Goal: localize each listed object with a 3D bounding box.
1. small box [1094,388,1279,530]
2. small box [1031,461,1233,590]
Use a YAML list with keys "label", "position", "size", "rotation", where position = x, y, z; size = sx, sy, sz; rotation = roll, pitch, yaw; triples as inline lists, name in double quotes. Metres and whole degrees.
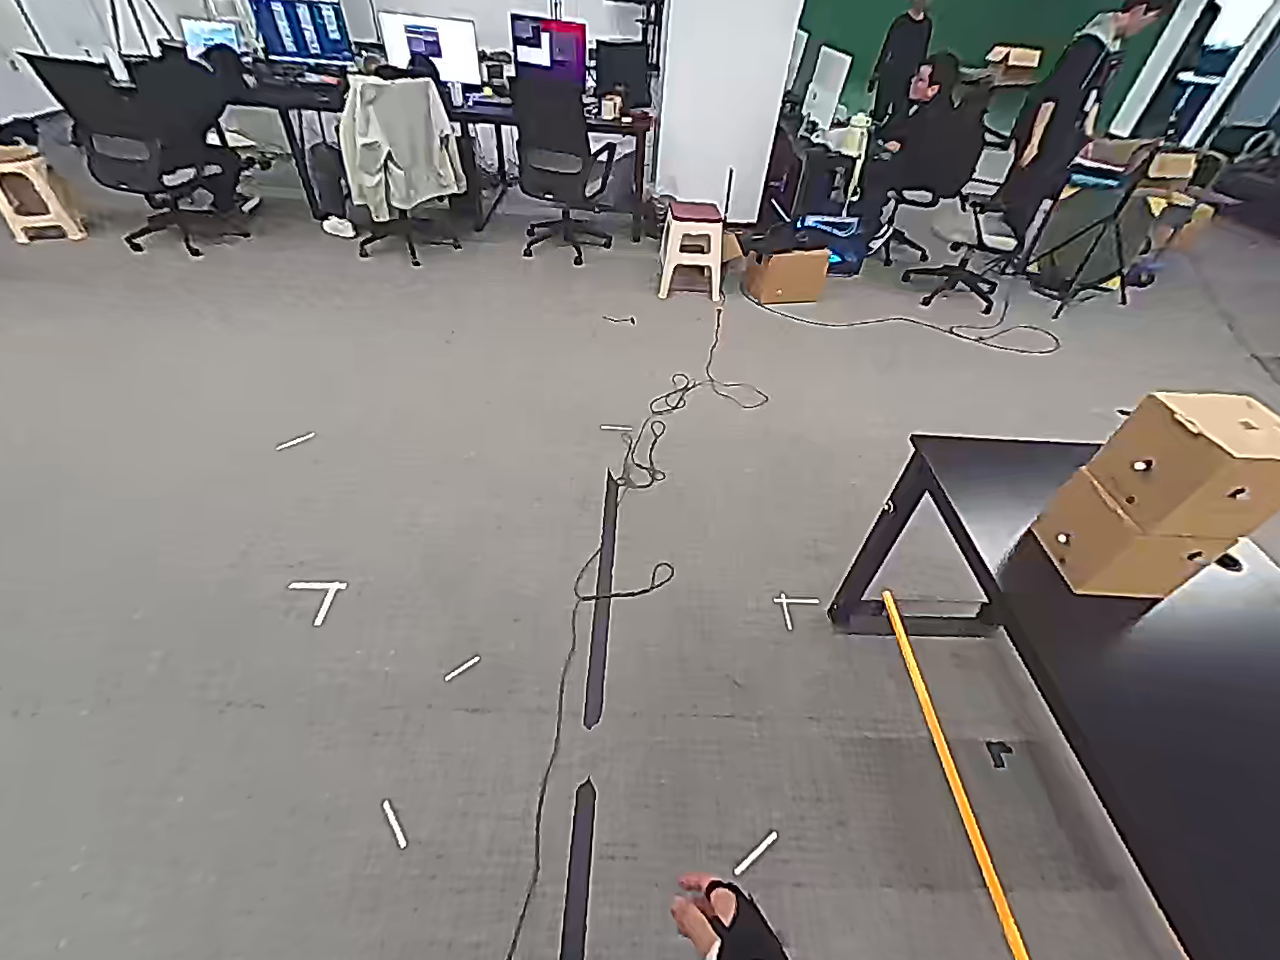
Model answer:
- label: "small box"
  position: [0.895, -0.033, 0.876]
  size: [0.179, 0.176, 0.168]
  rotation: [1, 44, -3]
- label: "small box"
  position: [0.876, 0.087, 0.986]
  size: [0.179, 0.176, 0.168]
  rotation: [3, 43, -2]
